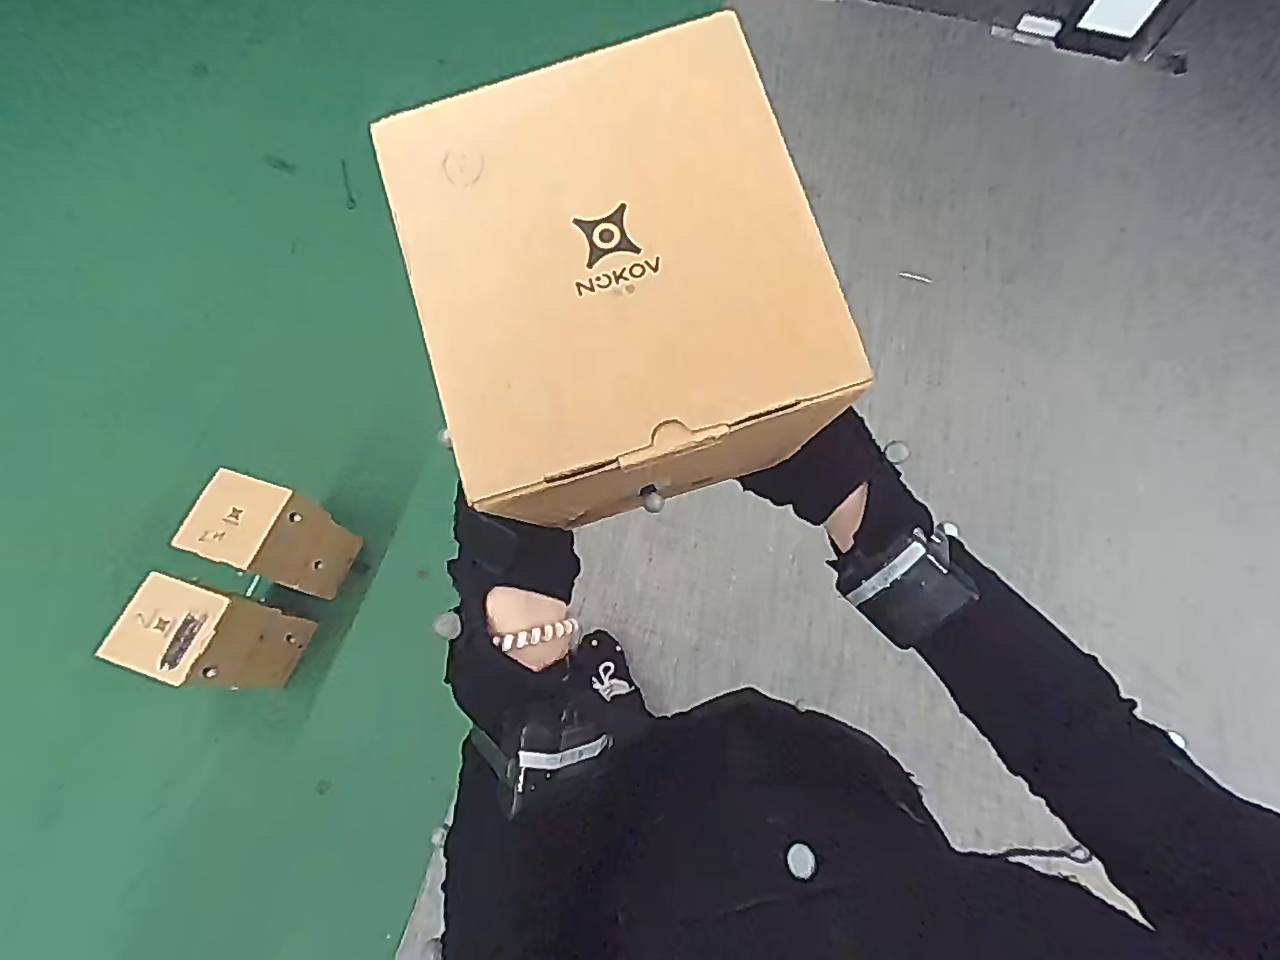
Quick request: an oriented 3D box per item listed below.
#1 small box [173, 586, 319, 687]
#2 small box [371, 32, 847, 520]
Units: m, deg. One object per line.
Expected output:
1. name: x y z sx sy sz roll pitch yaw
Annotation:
1. small box: -0.884 0.359 1.237 0.179 0.176 0.168 20 70 5
2. small box: -0.015 -0.085 0.307 0.168 0.176 0.179 -18 83 0
